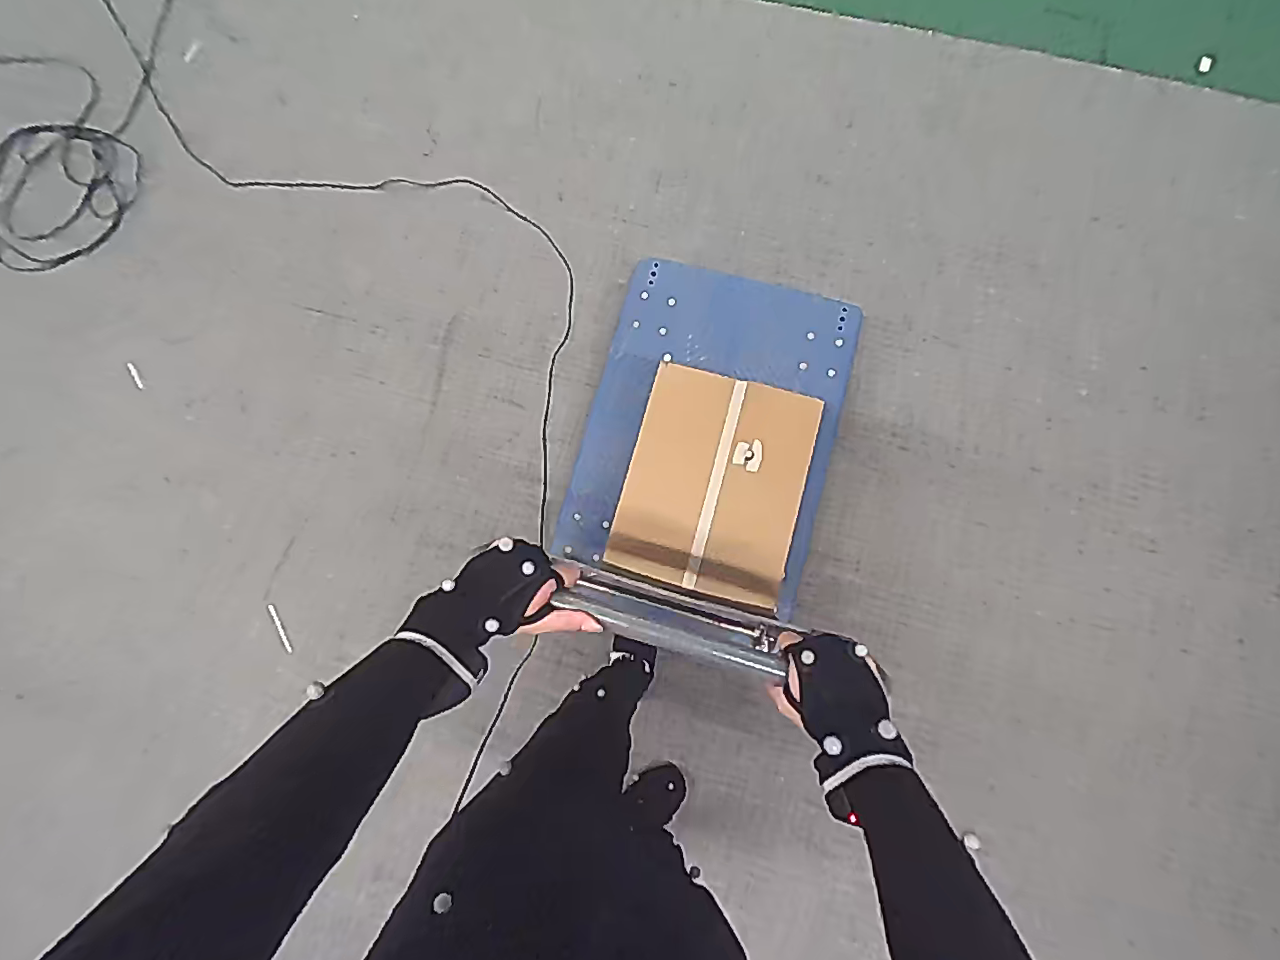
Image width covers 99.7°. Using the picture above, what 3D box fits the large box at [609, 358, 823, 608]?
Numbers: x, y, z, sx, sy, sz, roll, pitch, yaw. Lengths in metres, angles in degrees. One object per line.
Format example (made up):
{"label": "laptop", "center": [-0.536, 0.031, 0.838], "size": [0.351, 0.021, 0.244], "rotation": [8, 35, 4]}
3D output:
{"label": "large box", "center": [0.147, 0.024, 1.113], "size": [0.320, 0.320, 0.408], "rotation": [15, 81, 4]}
